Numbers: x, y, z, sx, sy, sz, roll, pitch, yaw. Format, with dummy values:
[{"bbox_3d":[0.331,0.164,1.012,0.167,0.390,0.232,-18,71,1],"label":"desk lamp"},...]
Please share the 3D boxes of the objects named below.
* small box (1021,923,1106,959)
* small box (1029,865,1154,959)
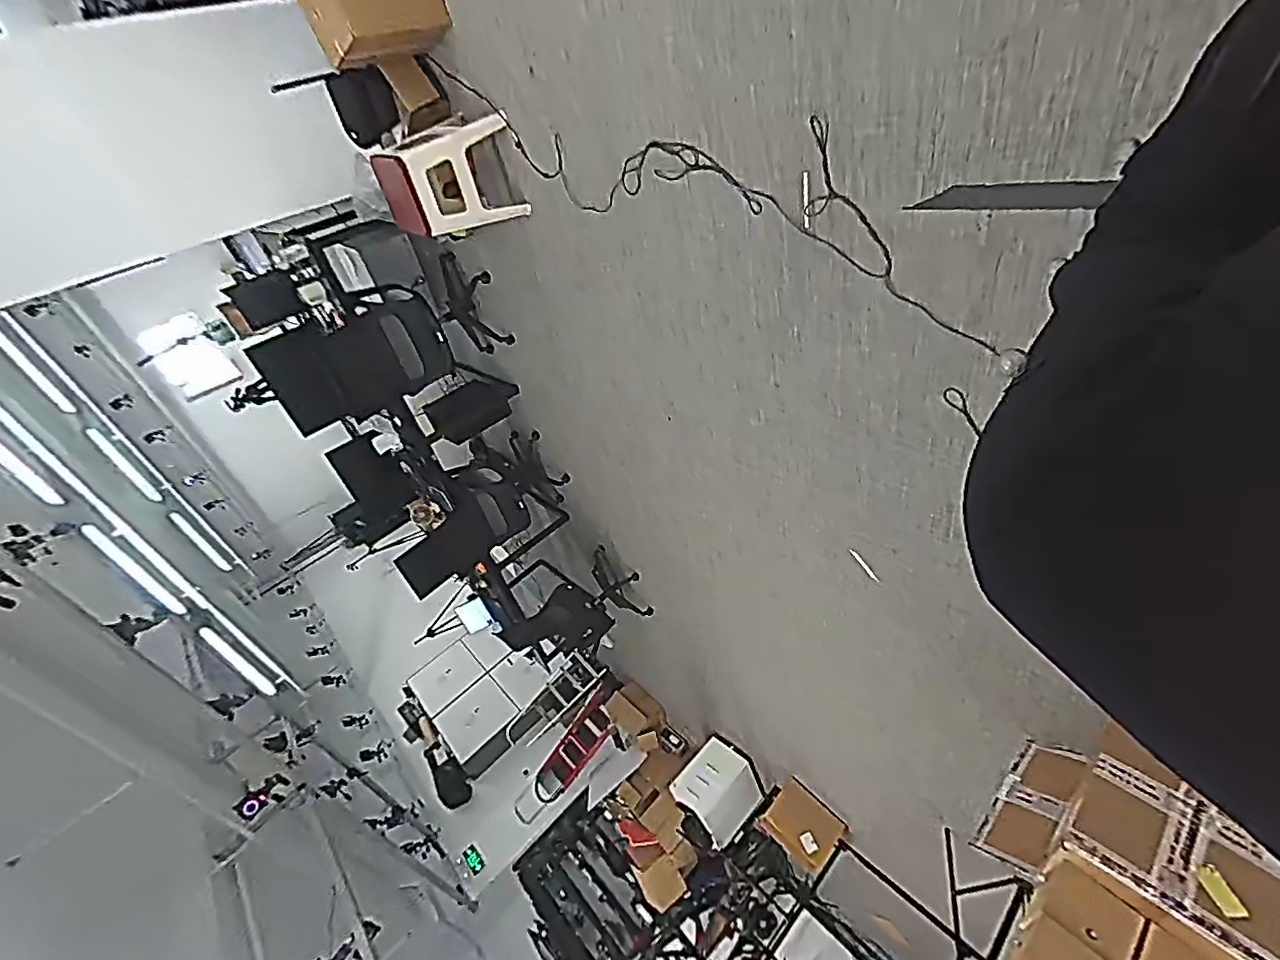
[{"bbox_3d":[1.014,1.197,1.275,0.179,0.176,0.168,30,145,41],"label":"small box"},{"bbox_3d":[1.138,1.130,1.365,0.179,0.176,0.168,33,146,39],"label":"small box"}]
